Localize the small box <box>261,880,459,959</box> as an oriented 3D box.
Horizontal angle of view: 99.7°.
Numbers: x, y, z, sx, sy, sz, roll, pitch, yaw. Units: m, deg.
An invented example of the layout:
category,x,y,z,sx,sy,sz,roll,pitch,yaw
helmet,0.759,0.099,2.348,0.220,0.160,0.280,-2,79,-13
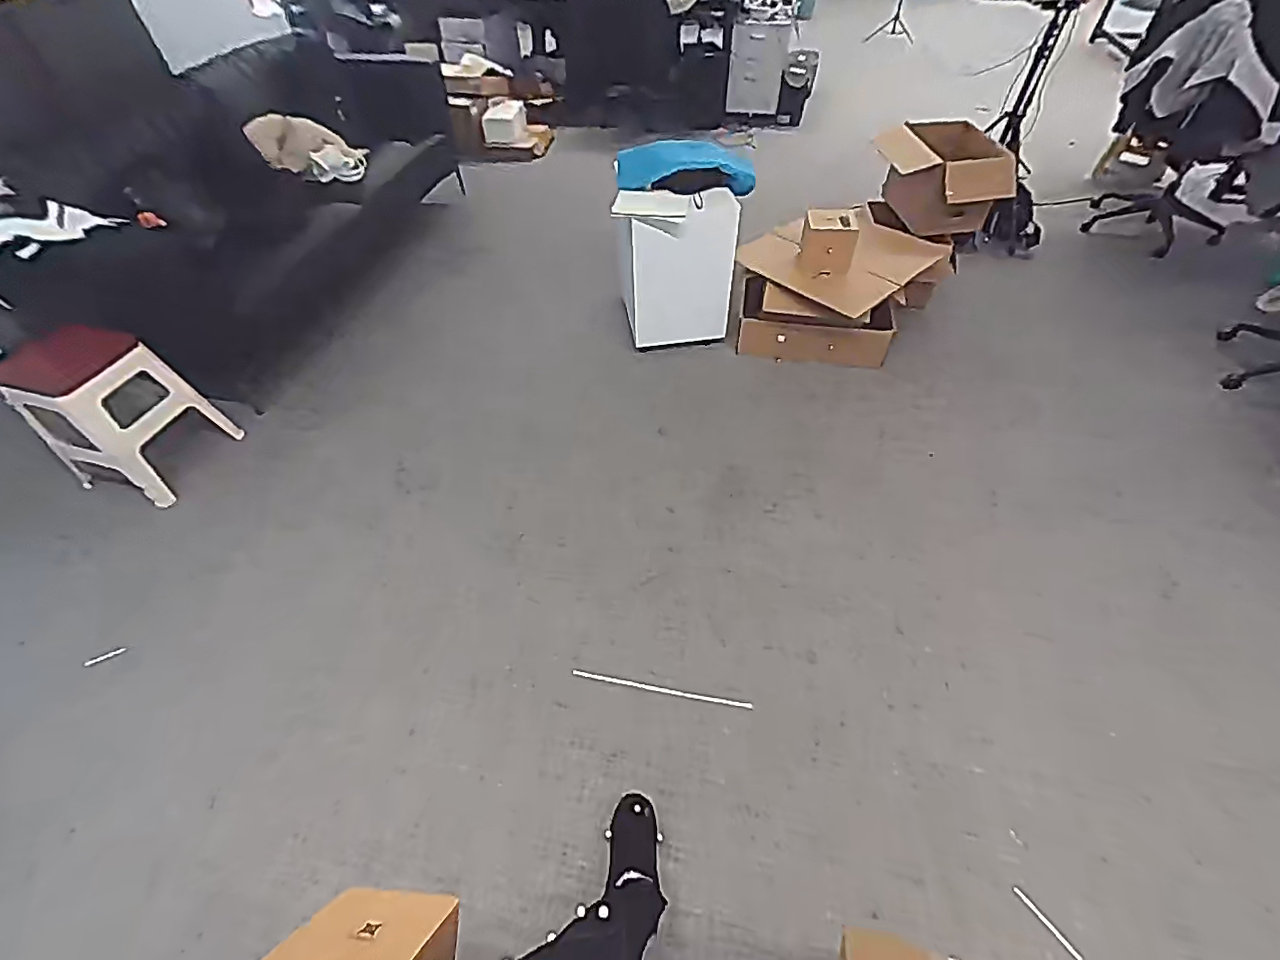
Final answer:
category,x,y,z,sx,sy,sz,roll,pitch,yaw
small box,-0.345,0.637,0.662,0.168,0.179,0.176,1,78,7
